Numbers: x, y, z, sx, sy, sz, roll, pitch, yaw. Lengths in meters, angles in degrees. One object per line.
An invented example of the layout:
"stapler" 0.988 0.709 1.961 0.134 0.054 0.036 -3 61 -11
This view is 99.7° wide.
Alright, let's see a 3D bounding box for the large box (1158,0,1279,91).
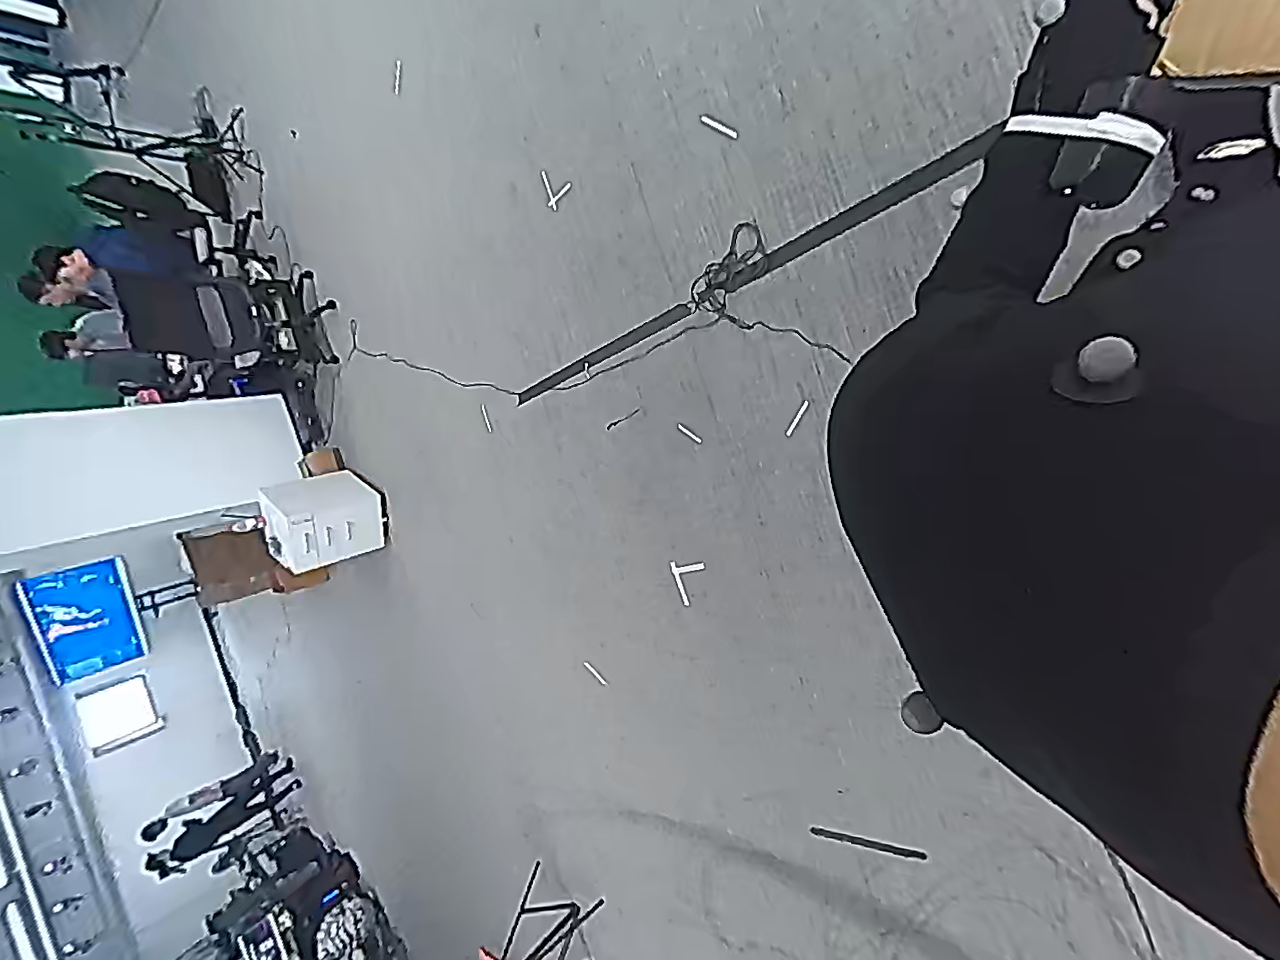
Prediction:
"large box" 0.579 -0.392 0.254 0.408 0.320 0.320 25 133 36
